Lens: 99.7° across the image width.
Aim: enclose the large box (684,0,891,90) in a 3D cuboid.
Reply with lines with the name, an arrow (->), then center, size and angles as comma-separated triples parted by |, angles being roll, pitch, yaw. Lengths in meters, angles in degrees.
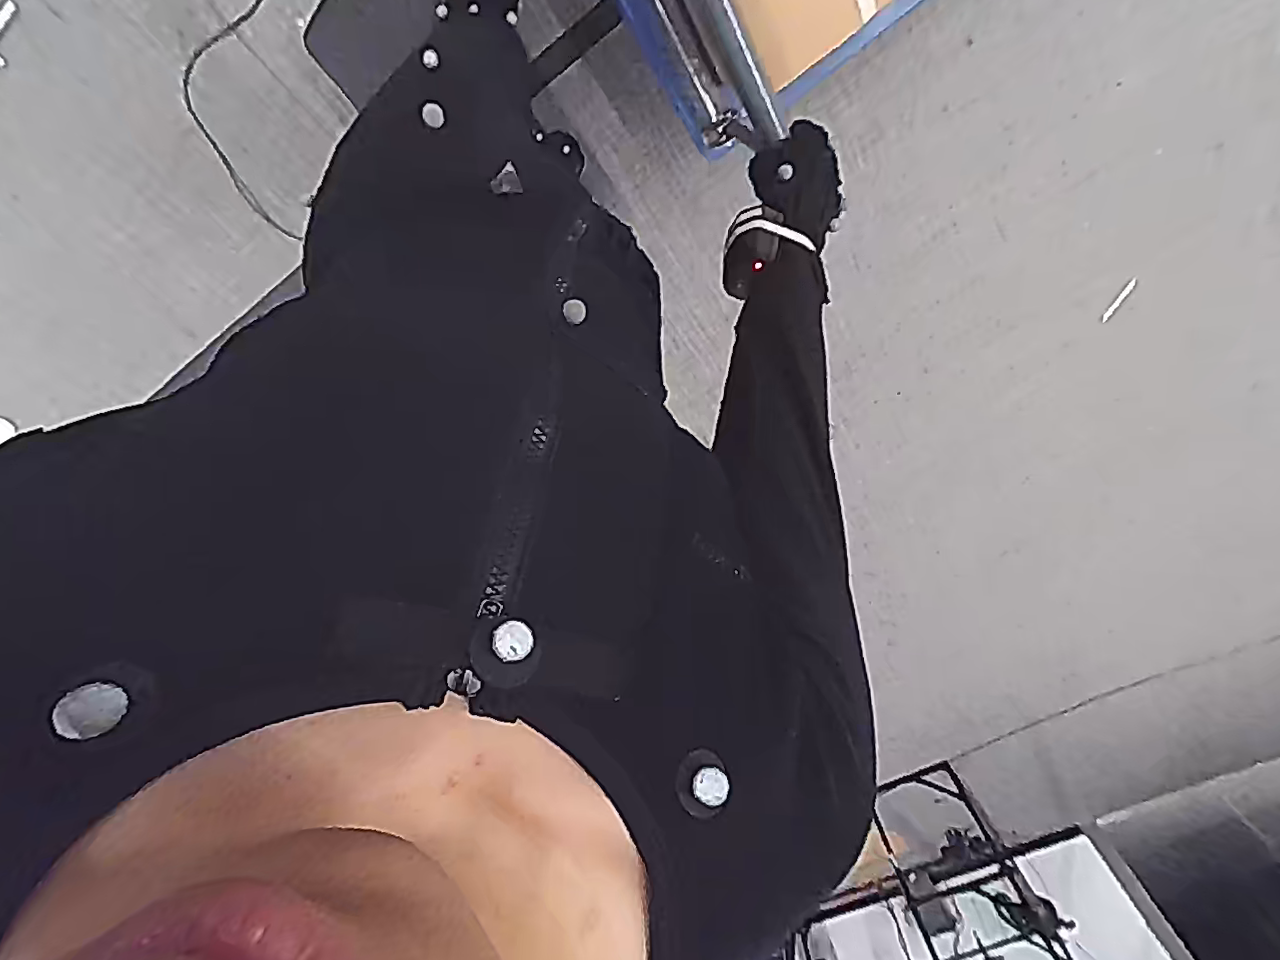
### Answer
large box -> 0.193, -0.875, 0.781 | 0.320, 0.320, 0.408 | -31, 127, 16
